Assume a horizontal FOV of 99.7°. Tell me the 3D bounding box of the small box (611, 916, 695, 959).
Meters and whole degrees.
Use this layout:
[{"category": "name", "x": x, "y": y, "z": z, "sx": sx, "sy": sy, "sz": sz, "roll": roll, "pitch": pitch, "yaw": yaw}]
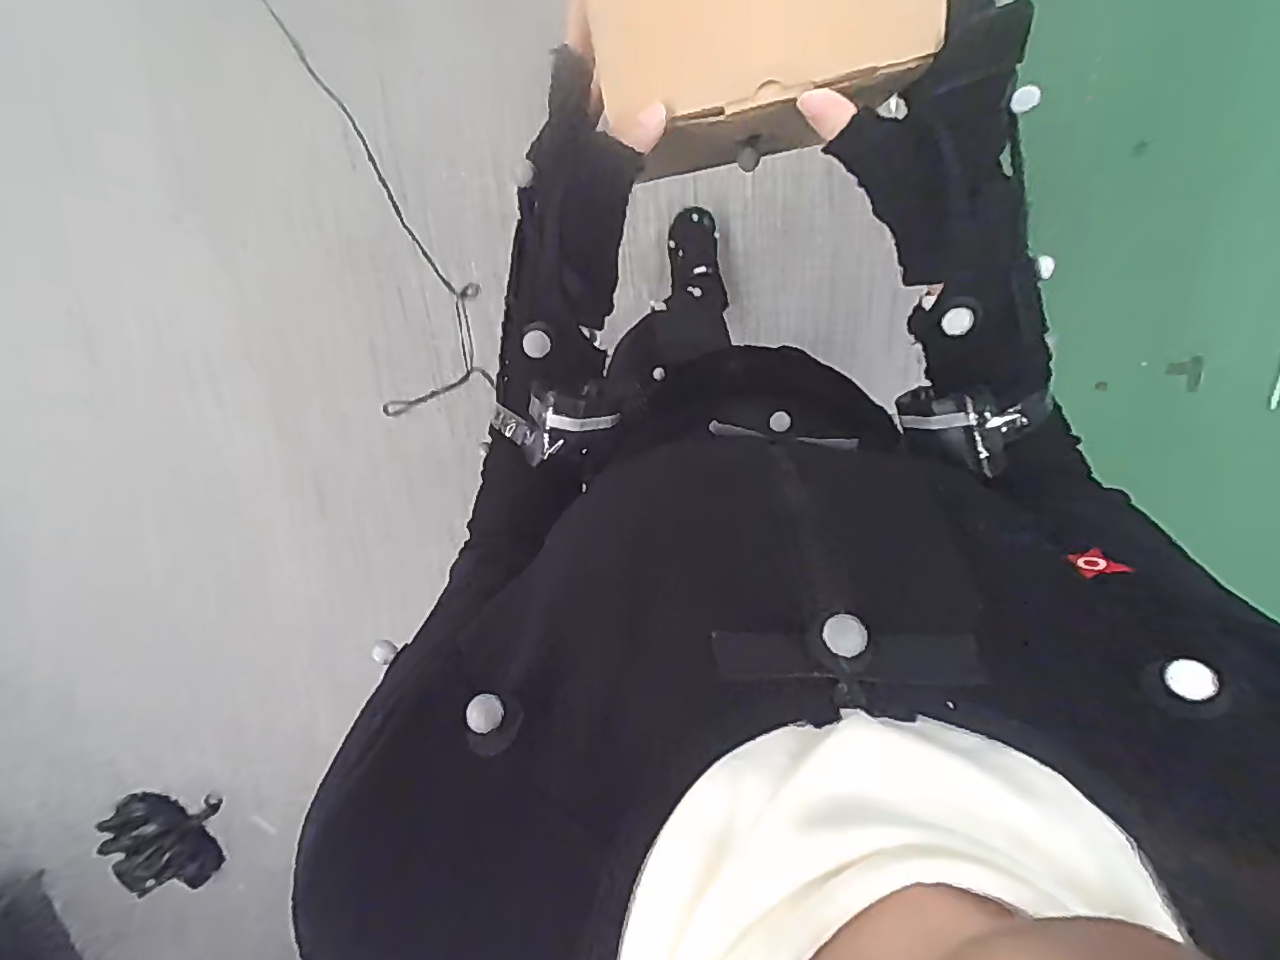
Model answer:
[{"category": "small box", "x": 0.029, "y": 1.117, "z": 1.205, "sx": 0.179, "sy": 0.176, "sz": 0.168, "roll": -5, "pitch": 104, "yaw": 8}]
